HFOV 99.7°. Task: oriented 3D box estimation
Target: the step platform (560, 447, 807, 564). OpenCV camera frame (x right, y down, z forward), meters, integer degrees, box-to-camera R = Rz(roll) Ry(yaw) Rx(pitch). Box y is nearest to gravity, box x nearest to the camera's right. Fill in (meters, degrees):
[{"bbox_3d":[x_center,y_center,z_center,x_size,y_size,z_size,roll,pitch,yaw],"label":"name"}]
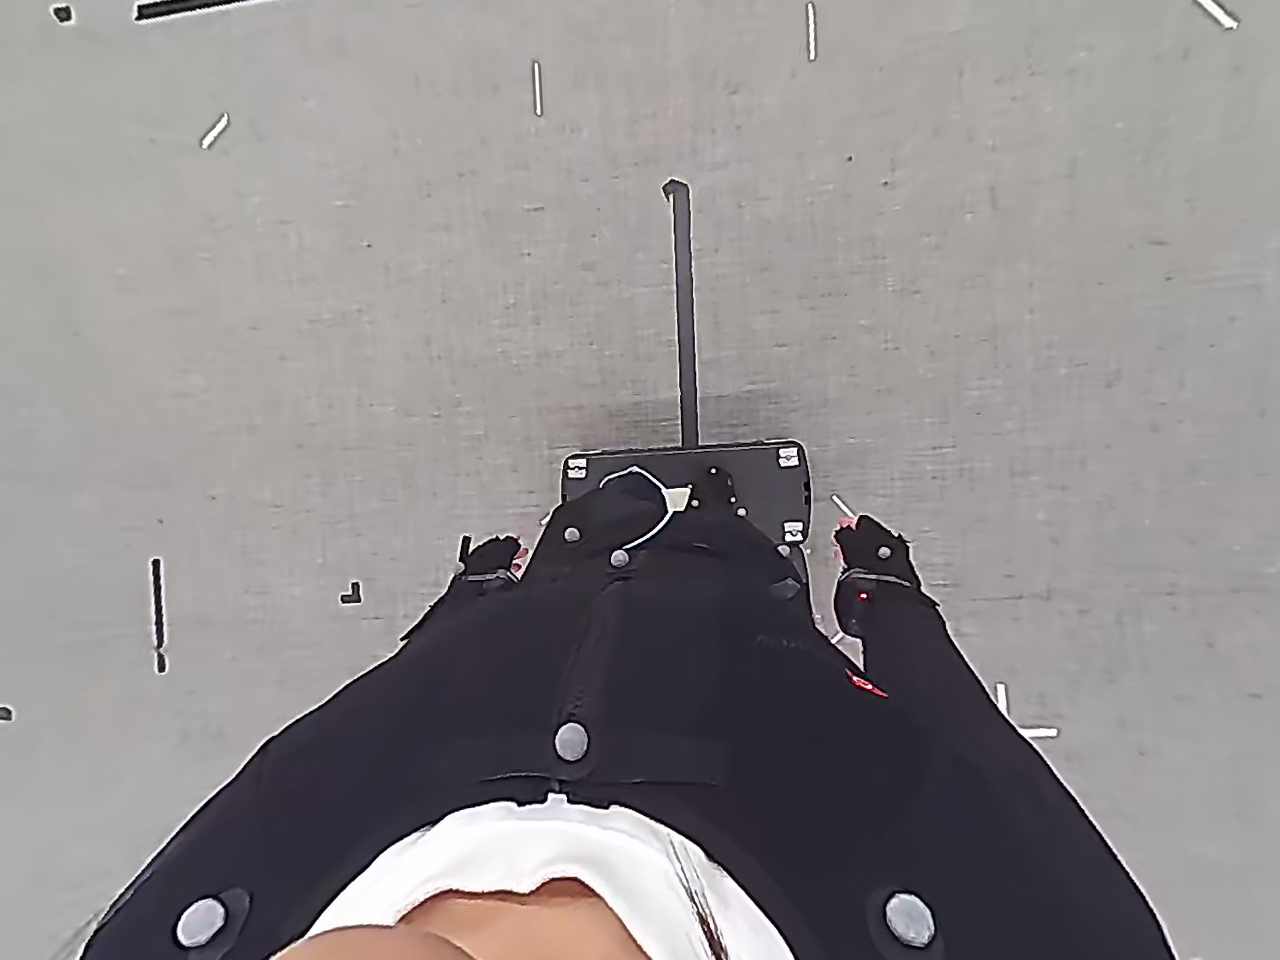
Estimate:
[{"bbox_3d":[0.118,0.072,1.537,0.684,0.204,0.286,-4,93,6],"label":"step platform"}]
